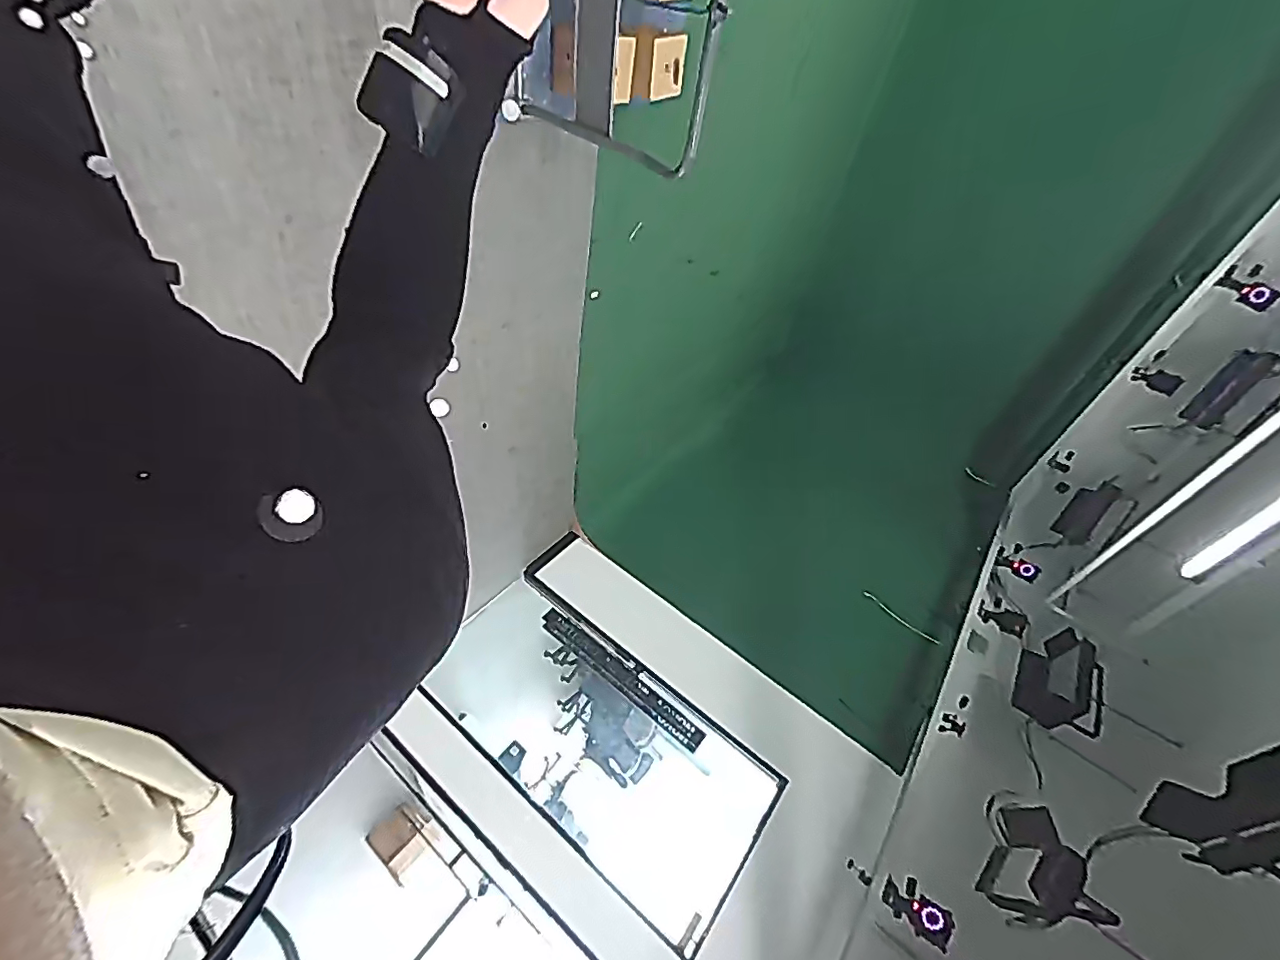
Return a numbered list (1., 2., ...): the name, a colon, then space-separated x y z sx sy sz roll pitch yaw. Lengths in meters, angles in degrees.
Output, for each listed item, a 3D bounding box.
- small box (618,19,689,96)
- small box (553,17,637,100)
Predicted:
1. small box: 0.032 -1.392 1.778 0.179 0.176 0.168 -39 153 -34
2. small box: -0.137 -1.259 1.614 0.179 0.176 0.168 -37 153 -38
